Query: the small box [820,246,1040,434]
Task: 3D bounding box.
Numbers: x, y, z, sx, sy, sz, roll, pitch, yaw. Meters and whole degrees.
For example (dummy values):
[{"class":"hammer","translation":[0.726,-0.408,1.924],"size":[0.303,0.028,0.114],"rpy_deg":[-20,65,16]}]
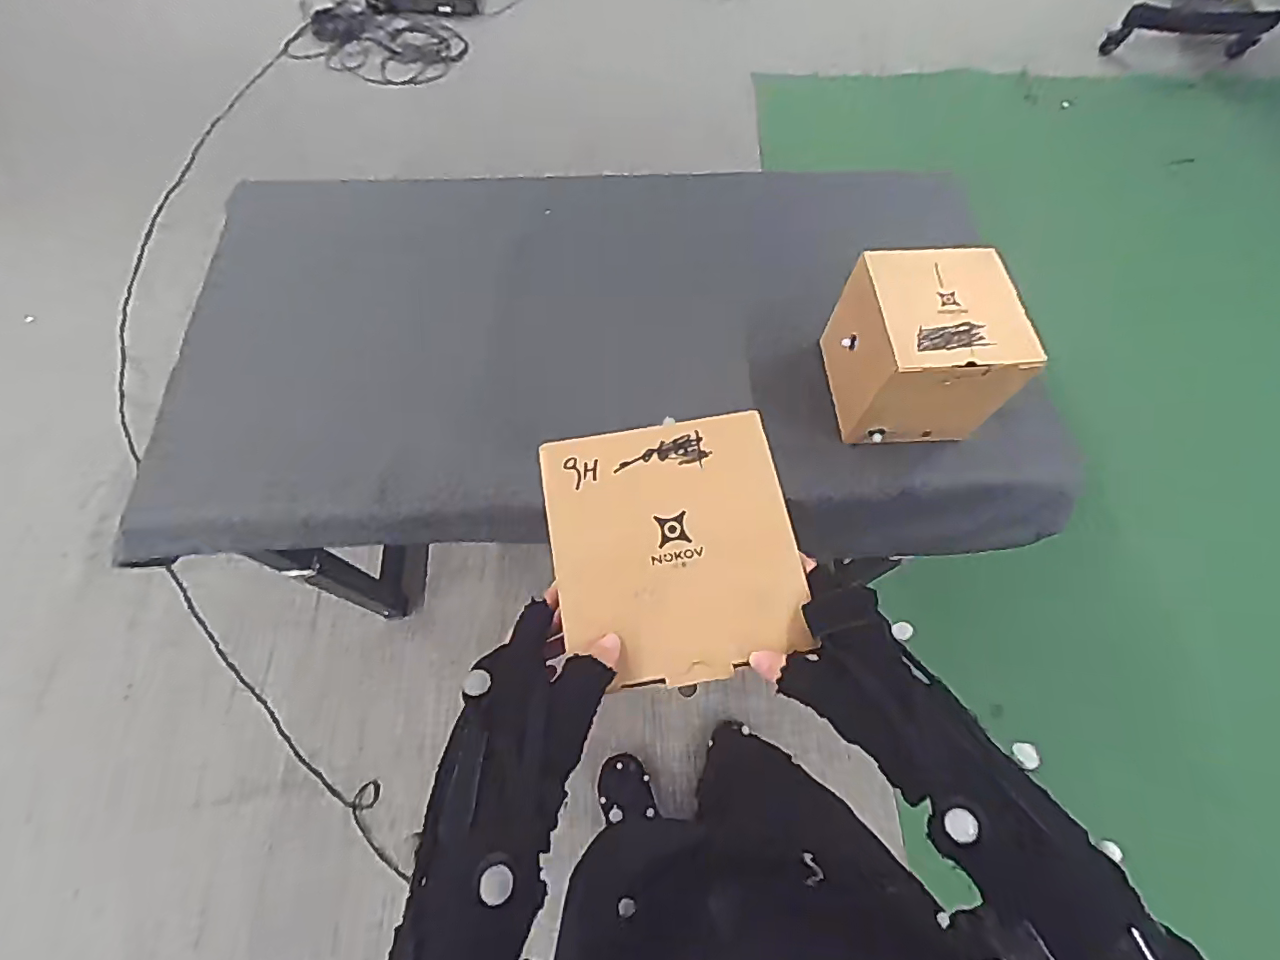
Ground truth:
[{"class":"small box","translation":[0.347,-0.167,0.686],"size":[0.168,0.176,0.179],"rpy_deg":[-2,65,-2]}]
